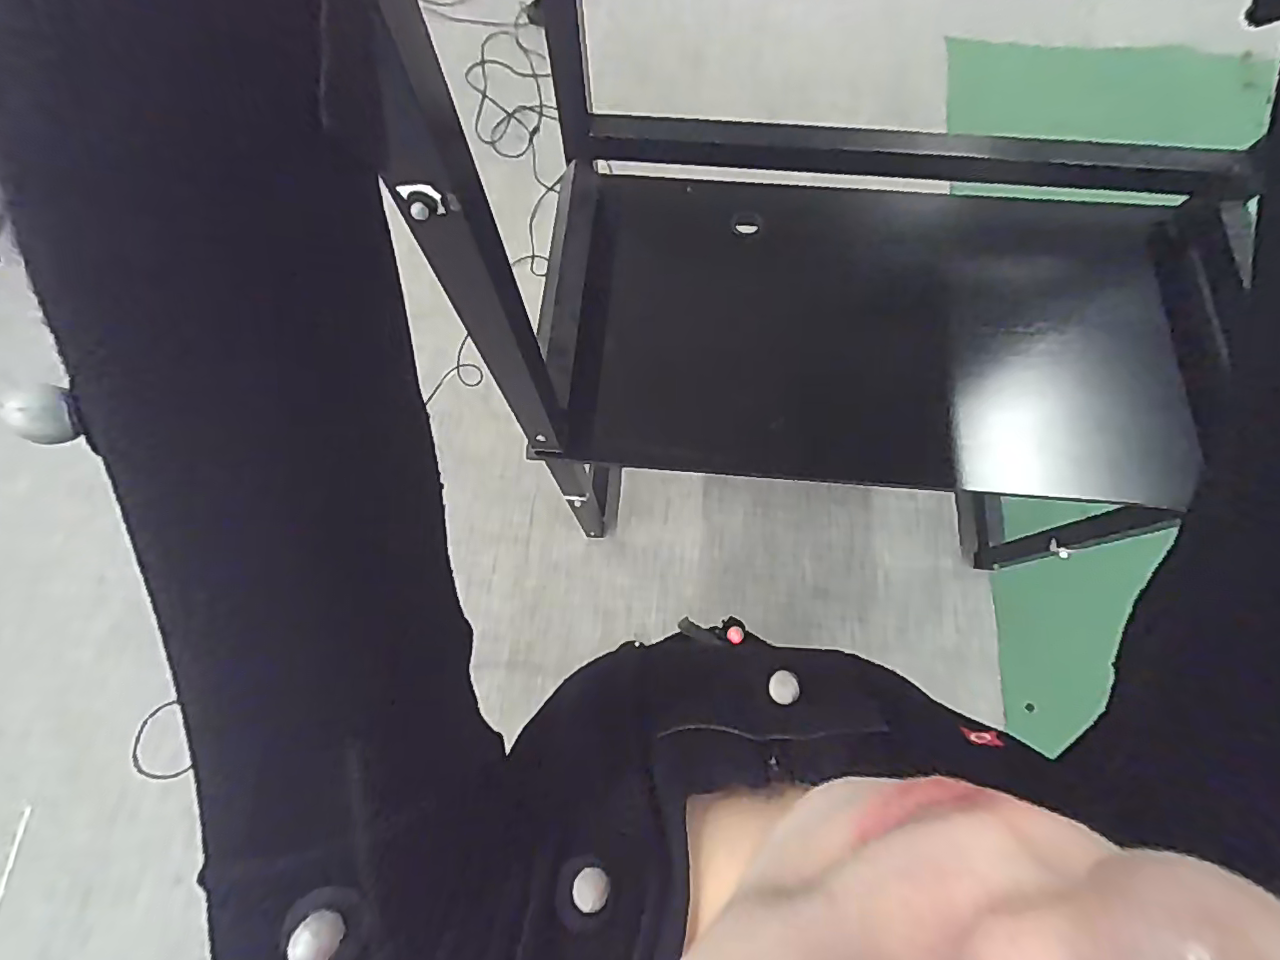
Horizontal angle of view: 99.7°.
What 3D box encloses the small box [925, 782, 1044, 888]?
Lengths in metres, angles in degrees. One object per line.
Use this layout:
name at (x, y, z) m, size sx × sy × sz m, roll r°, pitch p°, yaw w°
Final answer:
small box at (0.789, 0.818, 1.263) m, size 0.179 × 0.176 × 0.168 m, roll 3°, pitch 72°, yaw 3°
